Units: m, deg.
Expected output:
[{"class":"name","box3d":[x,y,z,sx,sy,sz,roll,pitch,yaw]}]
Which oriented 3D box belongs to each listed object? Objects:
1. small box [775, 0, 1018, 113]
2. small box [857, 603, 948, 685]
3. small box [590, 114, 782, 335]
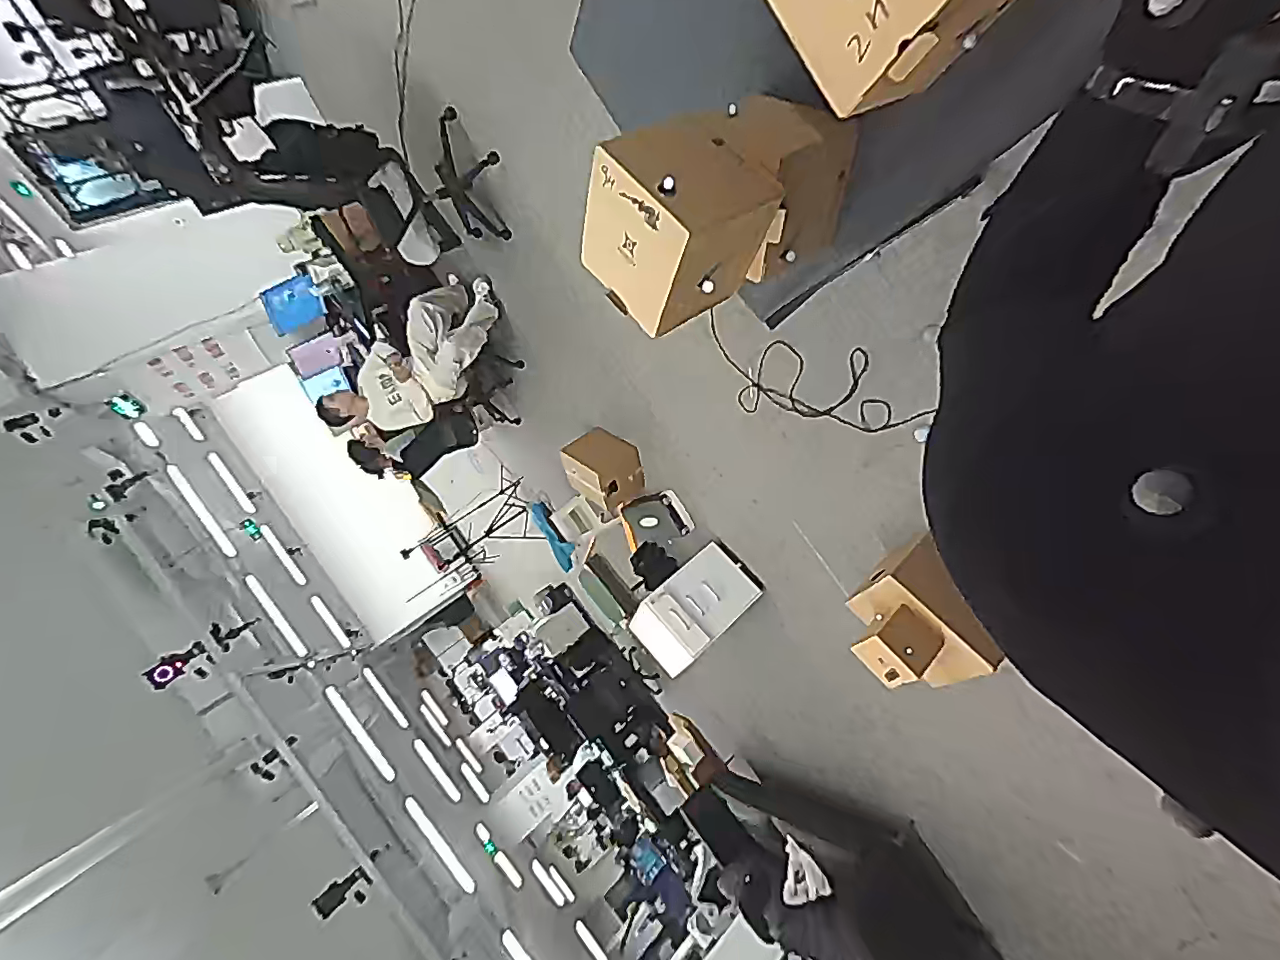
[{"class":"small box","box3d":[0.261,-0.507,0.522,0.179,0.176,0.168,57,155,-3]},{"class":"small box","box3d":[0.860,0.535,1.768,0.179,0.176,0.168,47,152,16]},{"class":"small box","box3d":[0.055,-0.333,0.710,0.168,0.176,0.179,49,155,13]}]
